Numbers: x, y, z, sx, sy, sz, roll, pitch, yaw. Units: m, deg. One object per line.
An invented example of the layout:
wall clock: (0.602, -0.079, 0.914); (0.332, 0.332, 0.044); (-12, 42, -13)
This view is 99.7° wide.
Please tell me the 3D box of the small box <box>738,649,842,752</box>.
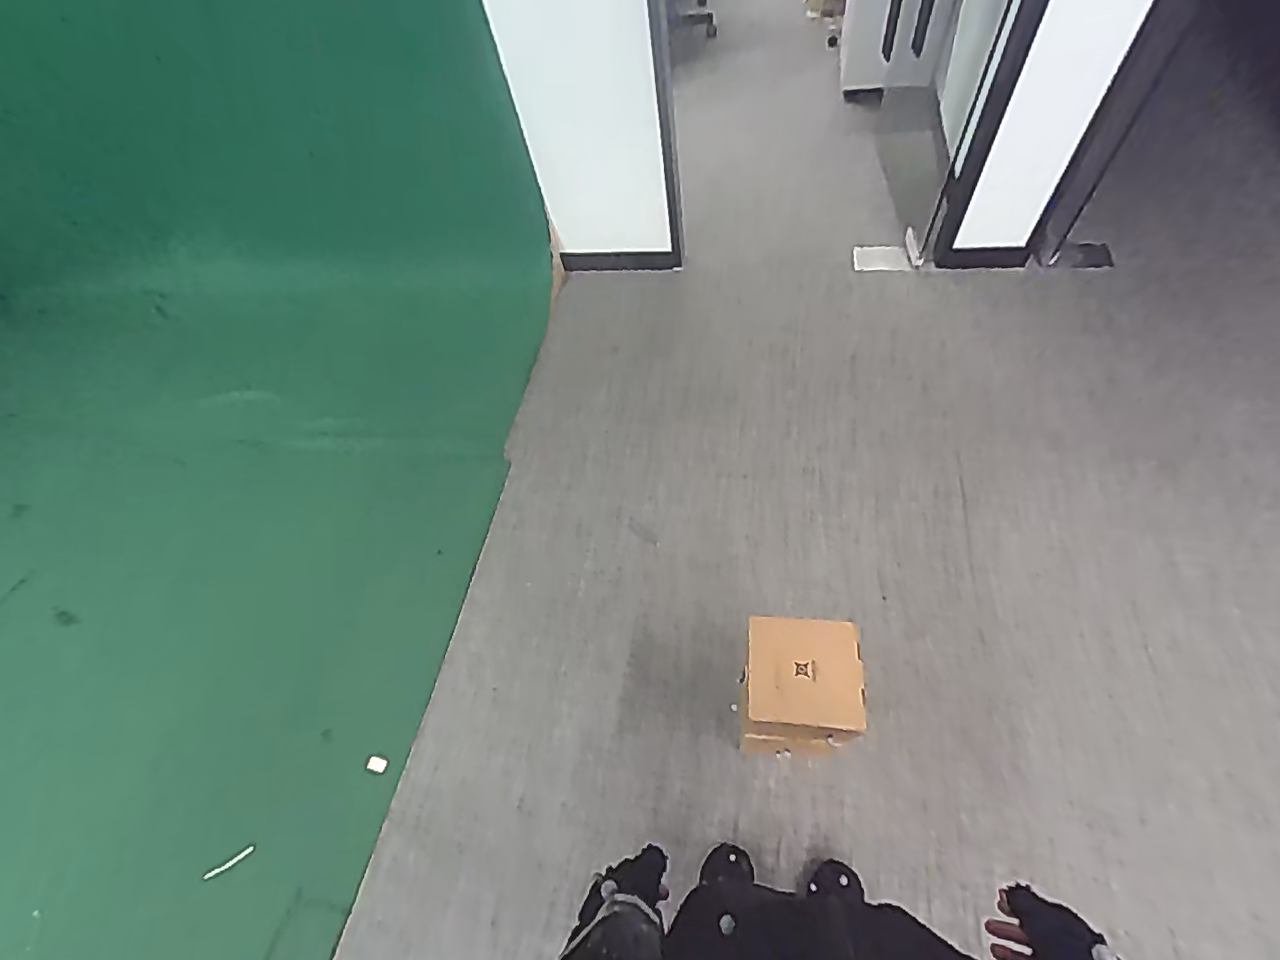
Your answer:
small box: (0.287, 0.432, 1.064); (0.179, 0.176, 0.168); (1, 59, 9)

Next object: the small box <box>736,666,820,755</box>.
small box: (0.310, 0.513, 1.204); (0.179, 0.176, 0.168); (-3, 58, 7)

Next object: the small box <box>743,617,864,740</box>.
small box: (0.269, 0.344, 0.929); (0.179, 0.176, 0.168); (0, 58, 10)
